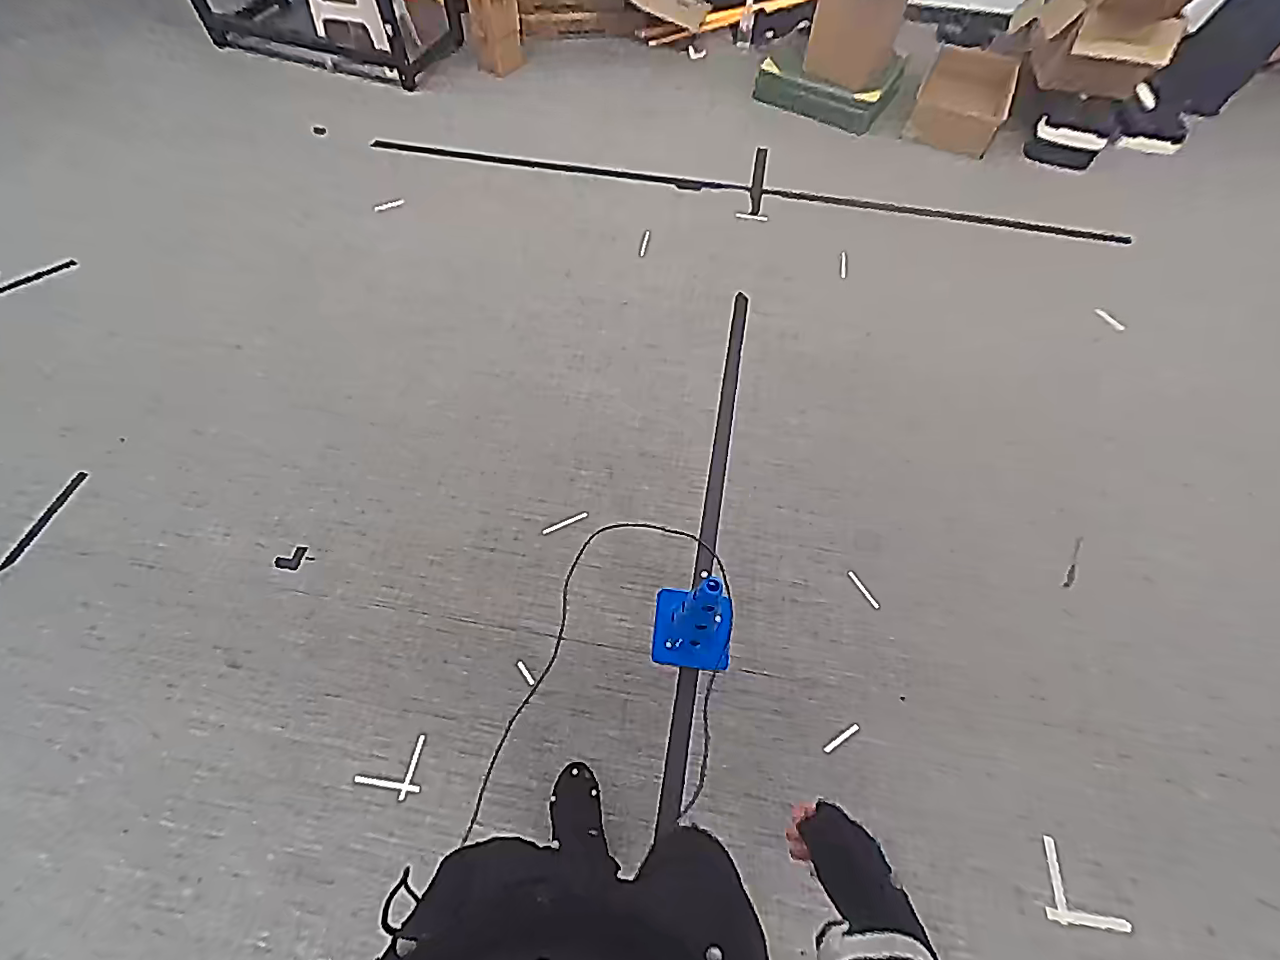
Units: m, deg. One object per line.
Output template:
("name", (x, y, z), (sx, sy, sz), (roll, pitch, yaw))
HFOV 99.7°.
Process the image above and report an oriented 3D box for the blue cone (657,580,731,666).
("blue cone", (0.147, 0.307, 1.260), (0.192, 0.380, 0.193), (6, 62, 0))
